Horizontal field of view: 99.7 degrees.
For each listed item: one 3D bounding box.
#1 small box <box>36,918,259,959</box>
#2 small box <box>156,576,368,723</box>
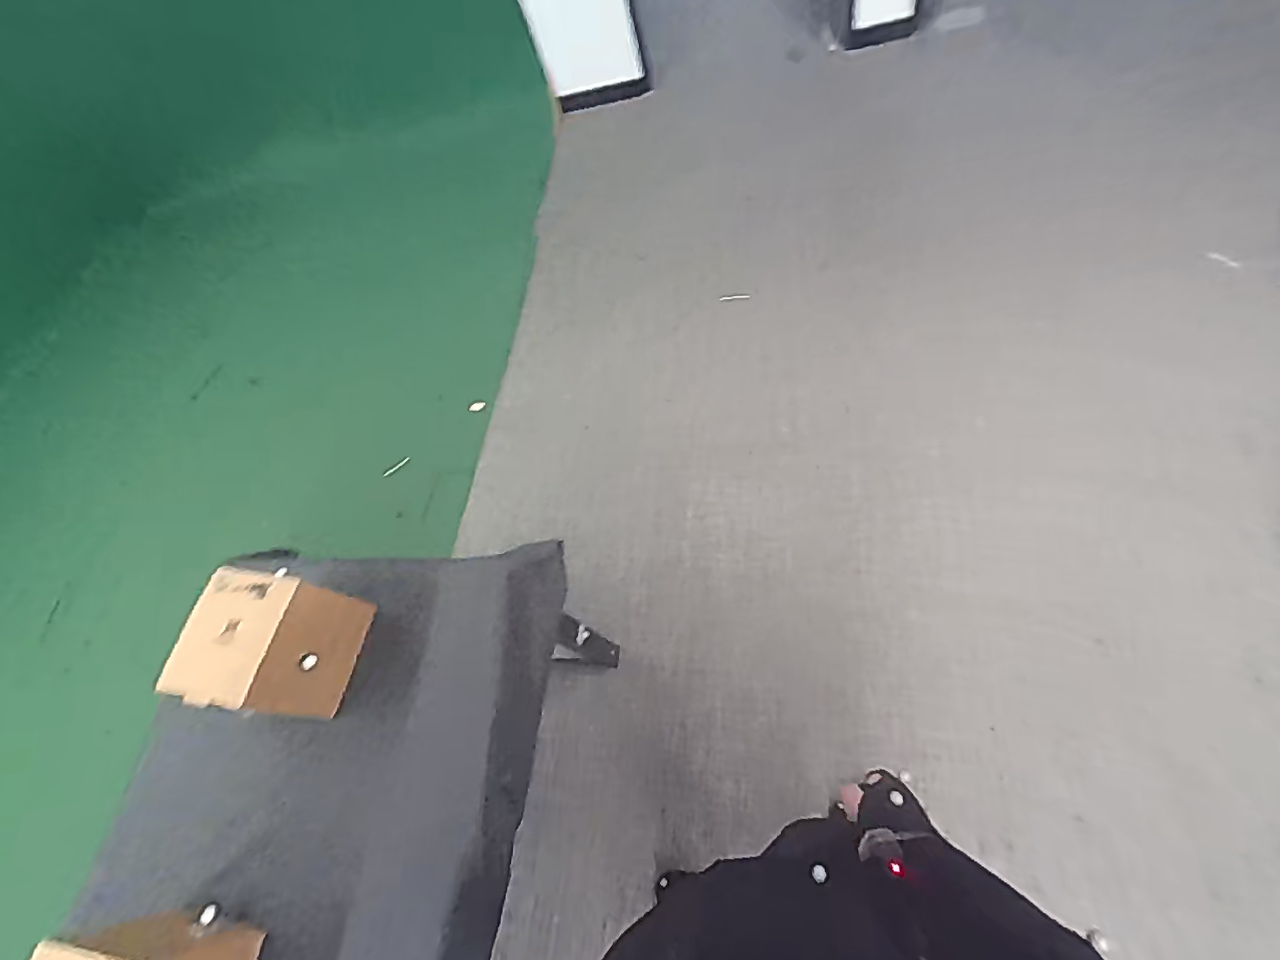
[{"bbox_3d":[-0.601,0.652,0.634,0.168,0.176,0.179,-2,61,13],"label":"small box"},{"bbox_3d":[-0.554,0.261,0.821,0.168,0.176,0.179,4,65,17],"label":"small box"}]
